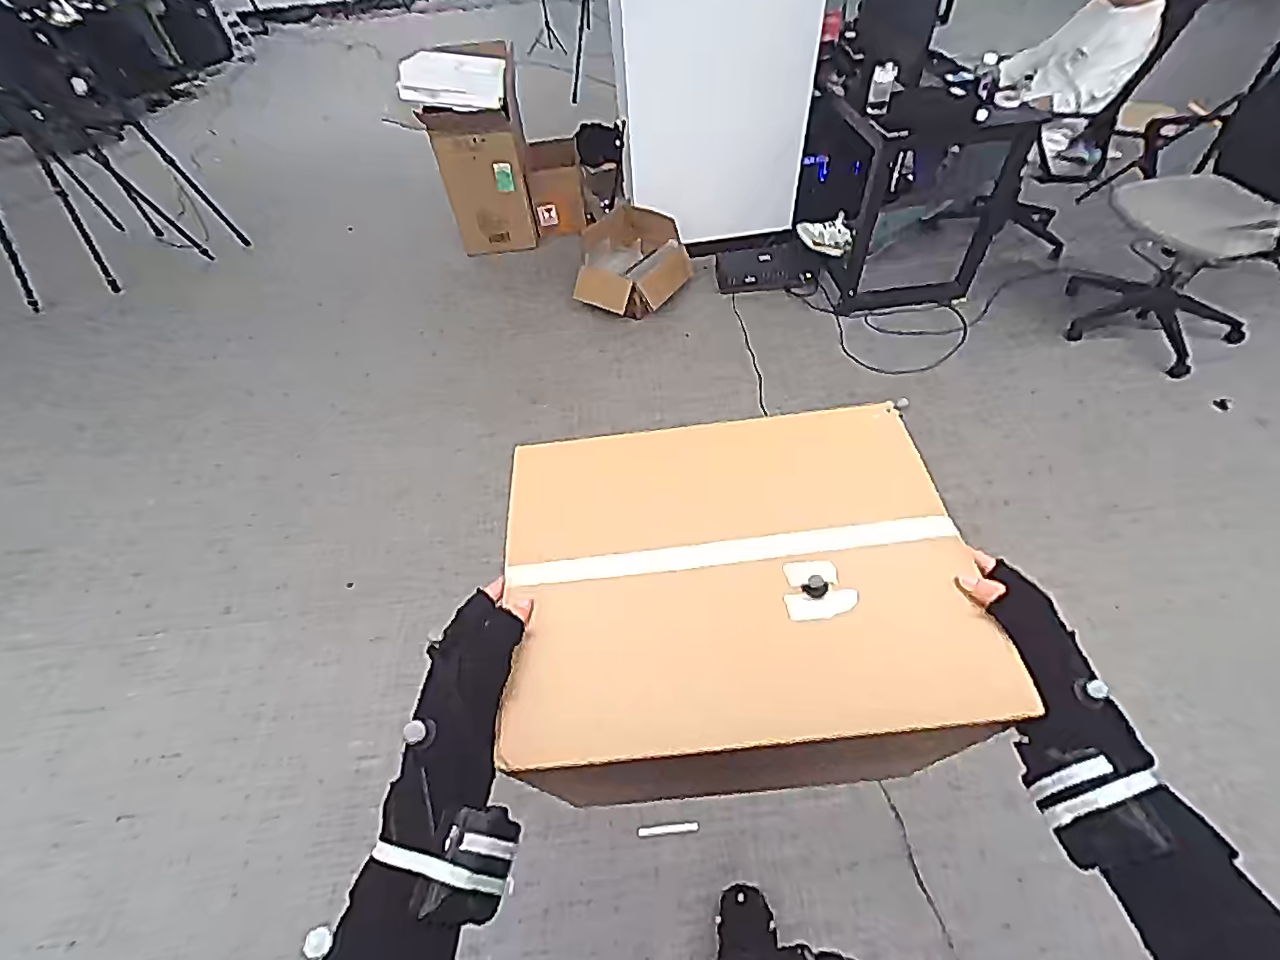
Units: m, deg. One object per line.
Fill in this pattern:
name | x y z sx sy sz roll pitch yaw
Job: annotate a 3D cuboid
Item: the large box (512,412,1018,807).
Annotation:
large box | 0.093 0.160 0.621 0.408 0.320 0.320 -7 54 1
